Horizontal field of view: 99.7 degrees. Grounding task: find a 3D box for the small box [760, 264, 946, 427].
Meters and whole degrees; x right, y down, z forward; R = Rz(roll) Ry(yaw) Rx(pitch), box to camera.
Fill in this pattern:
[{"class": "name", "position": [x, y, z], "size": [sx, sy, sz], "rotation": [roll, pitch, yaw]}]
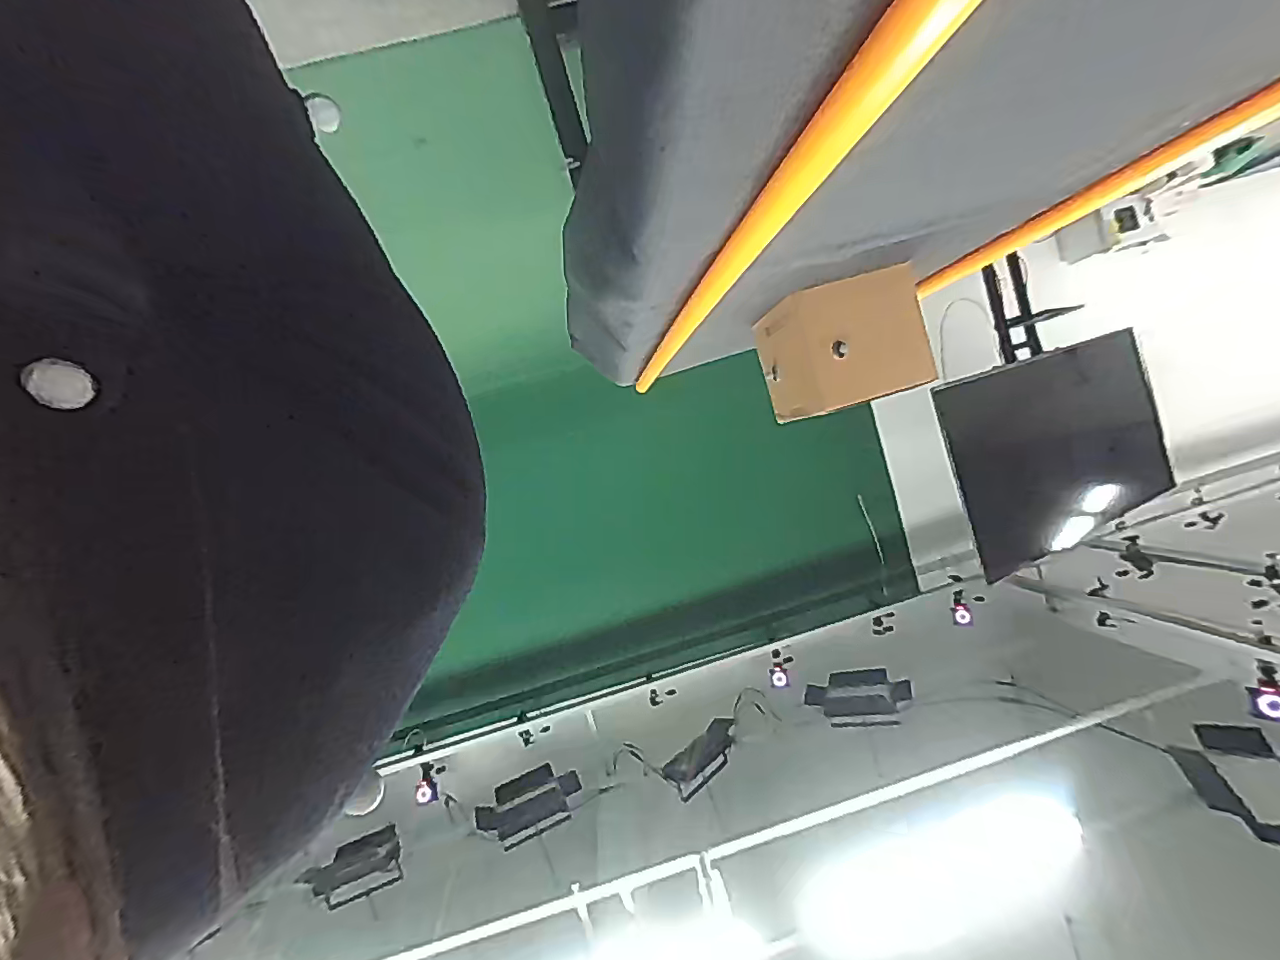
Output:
[{"class": "small box", "position": [0.297, -0.190, 0.793], "size": [0.179, 0.176, 0.168], "rotation": [-19, -177, -6]}]
